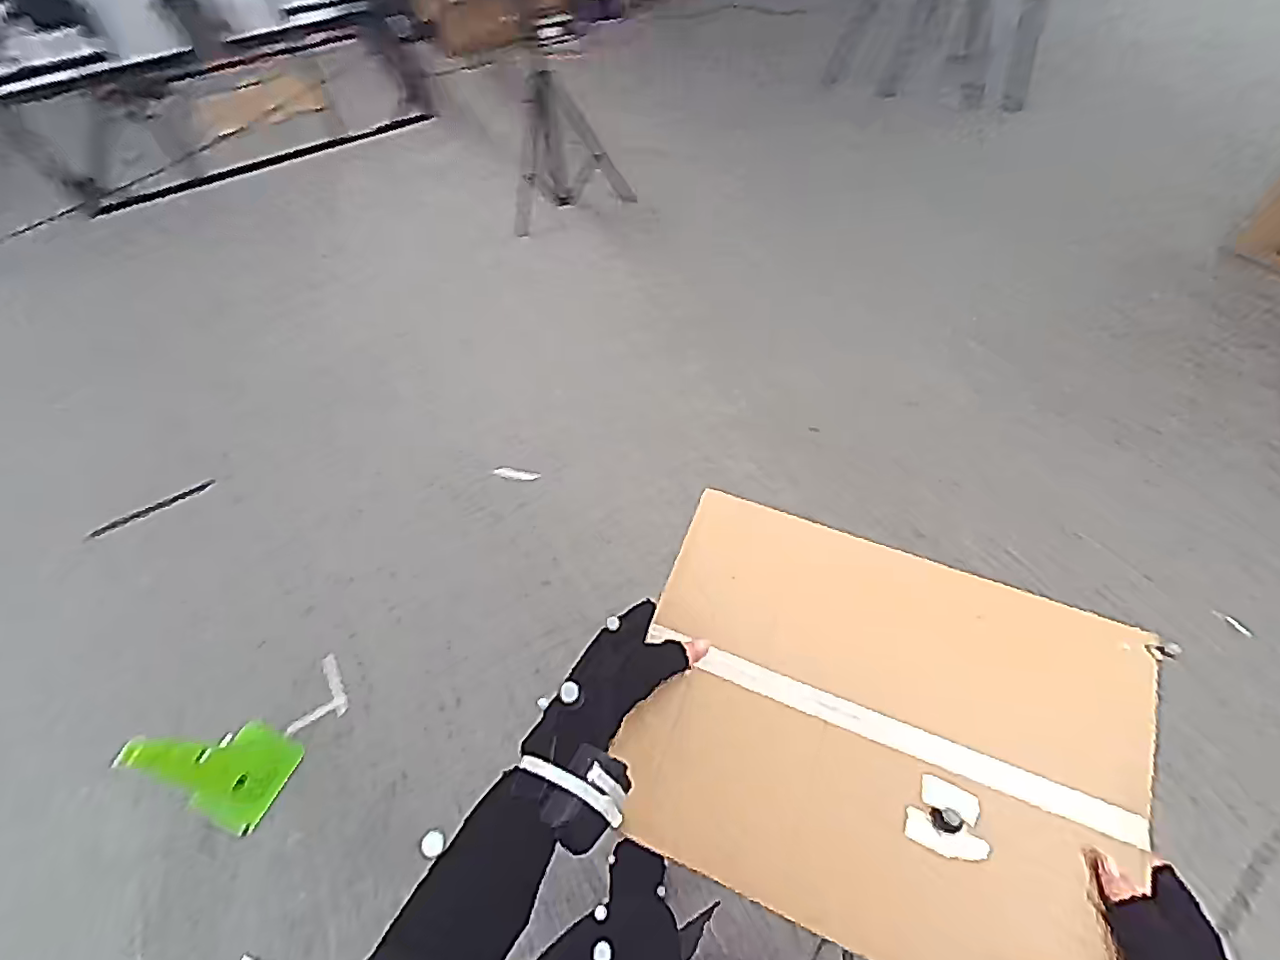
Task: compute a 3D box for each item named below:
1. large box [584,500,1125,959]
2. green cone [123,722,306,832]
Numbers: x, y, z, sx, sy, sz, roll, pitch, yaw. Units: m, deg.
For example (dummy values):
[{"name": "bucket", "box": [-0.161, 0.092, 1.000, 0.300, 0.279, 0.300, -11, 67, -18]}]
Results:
[{"name": "large box", "box": [0.199, 0.266, 0.599, 0.408, 0.320, 0.320, 18, 70, 13]}, {"name": "green cone", "box": [-0.974, 0.628, 1.205, 0.202, 0.368, 0.200, 16, 57, 17]}]
